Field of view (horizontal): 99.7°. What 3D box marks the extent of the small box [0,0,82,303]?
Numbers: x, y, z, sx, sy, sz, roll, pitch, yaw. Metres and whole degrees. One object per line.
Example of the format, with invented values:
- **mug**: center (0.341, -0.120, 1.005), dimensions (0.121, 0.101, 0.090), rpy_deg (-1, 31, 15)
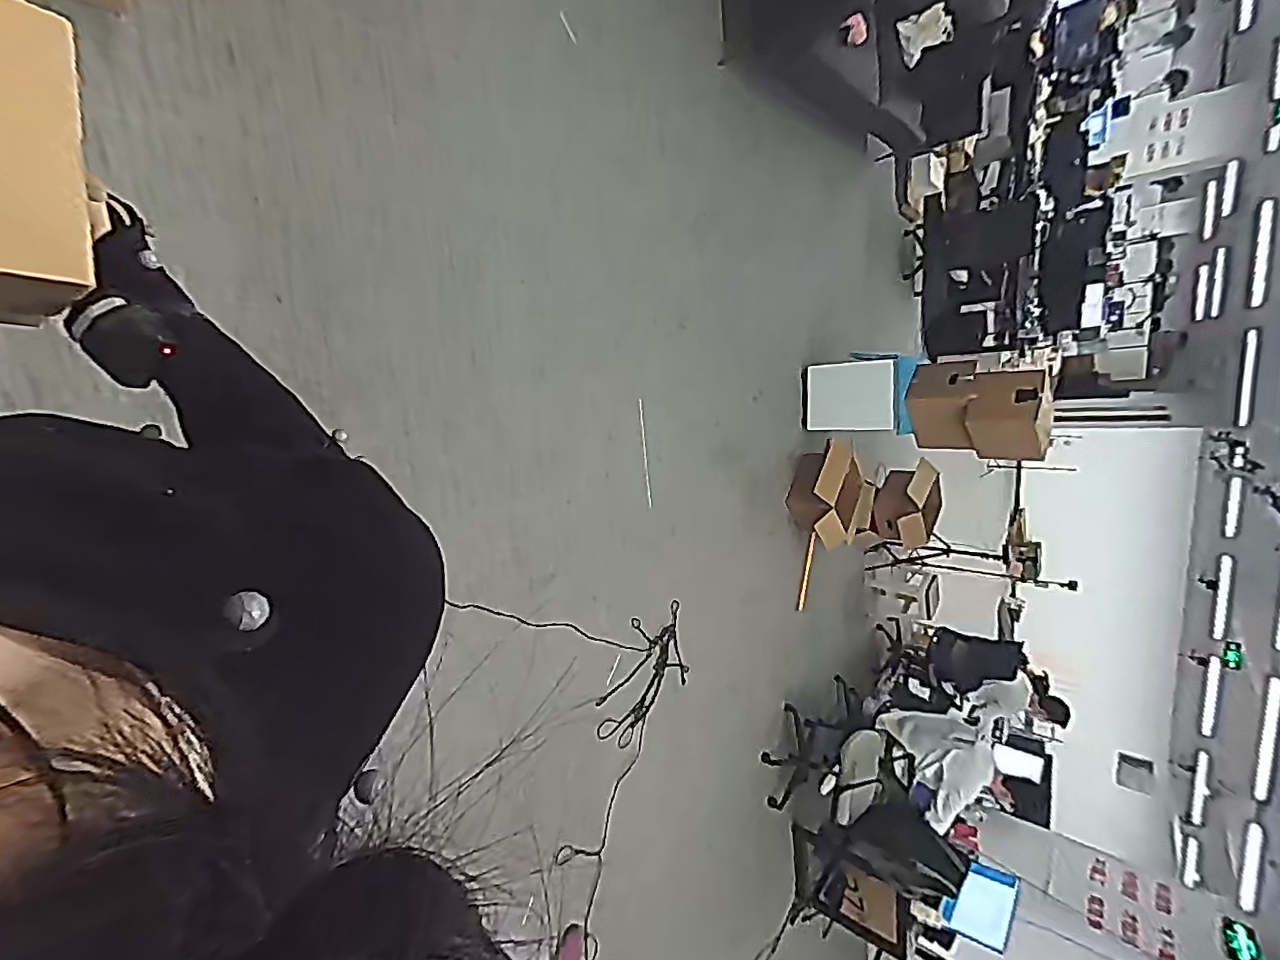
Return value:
- **small box**: center (-0.483, -0.222, 0.340), dimensions (0.168, 0.176, 0.179), rpy_deg (-6, 96, -53)
